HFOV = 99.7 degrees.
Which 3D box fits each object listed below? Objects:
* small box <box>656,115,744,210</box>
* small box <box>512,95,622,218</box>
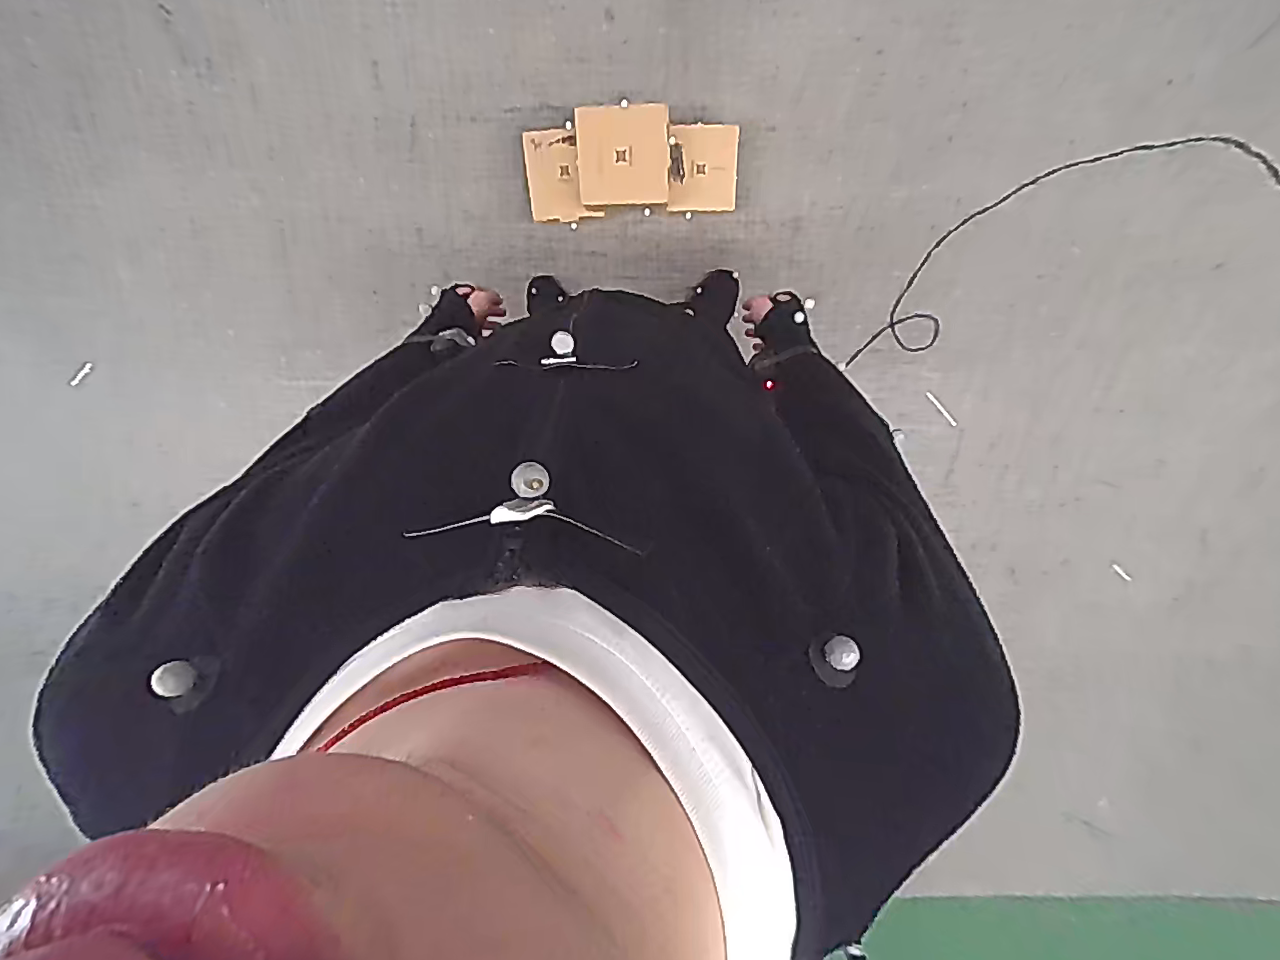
[{"bbox_3d":[0.131,-0.720,1.242,0.179,0.176,0.168,5,115,0],"label":"small box"},{"bbox_3d":[-0.157,-0.726,1.240,0.179,0.176,0.168,-30,107,14],"label":"small box"}]
